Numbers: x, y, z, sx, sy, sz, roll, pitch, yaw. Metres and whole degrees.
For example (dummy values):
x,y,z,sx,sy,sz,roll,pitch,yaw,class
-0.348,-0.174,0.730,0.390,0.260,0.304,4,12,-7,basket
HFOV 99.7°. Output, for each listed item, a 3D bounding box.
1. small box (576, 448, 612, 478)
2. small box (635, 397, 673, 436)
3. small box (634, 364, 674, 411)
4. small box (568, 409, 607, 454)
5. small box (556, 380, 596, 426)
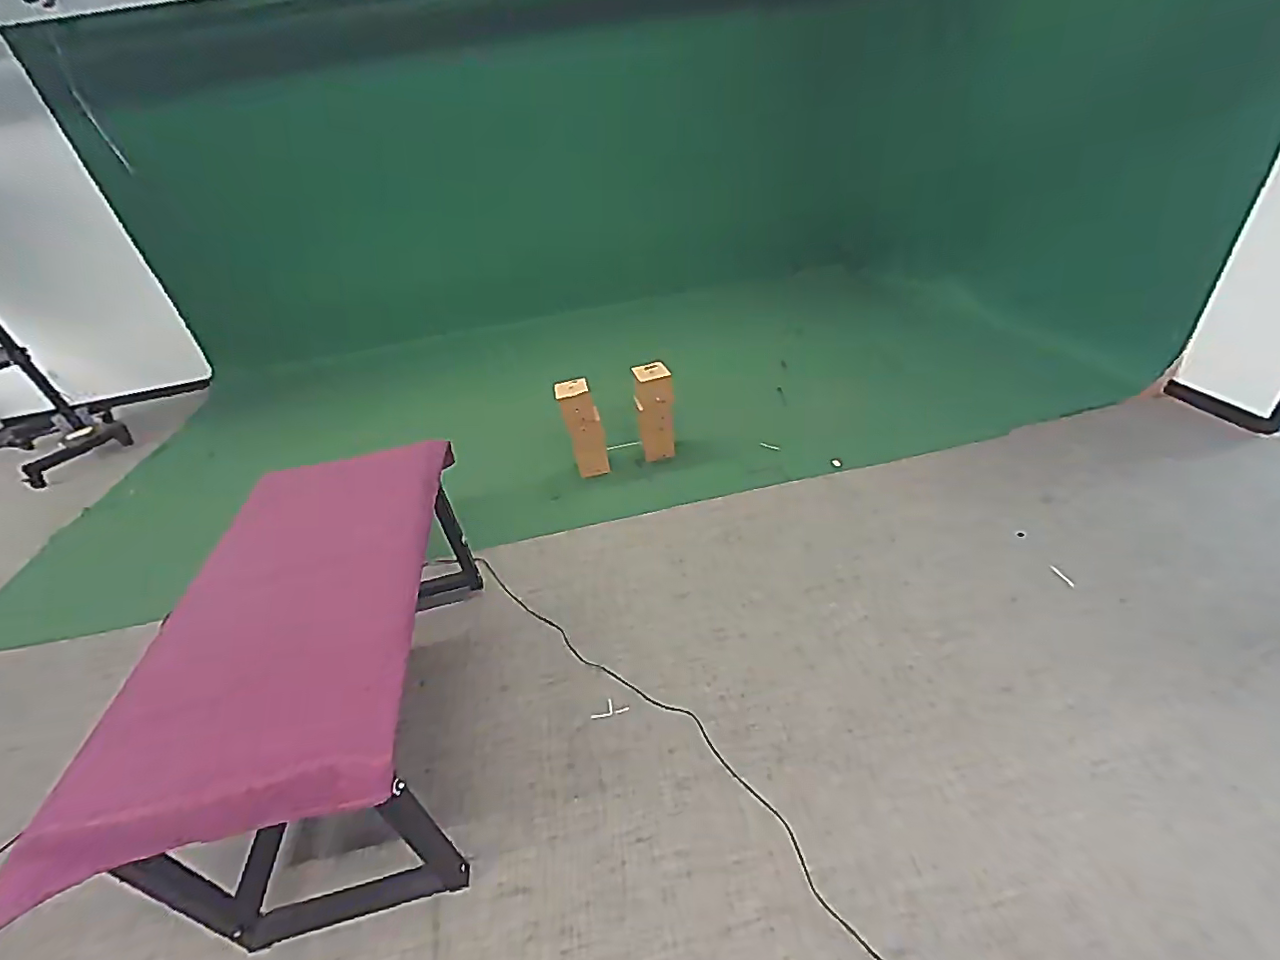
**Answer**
x,y,z,sx,sy,sz,roll,pitch,yaw,class
-0.259,-0.126,2.981,0.168,0.176,0.179,-14,35,-5,small box
0.078,-0.352,2.930,0.168,0.176,0.179,-12,36,-5,small box
0.073,-0.486,2.835,0.168,0.176,0.179,-16,38,-10,small box
-0.284,-0.255,2.882,0.179,0.176,0.168,-13,35,-5,small box
-0.329,-0.391,2.798,0.168,0.176,0.179,-13,36,-4,small box
